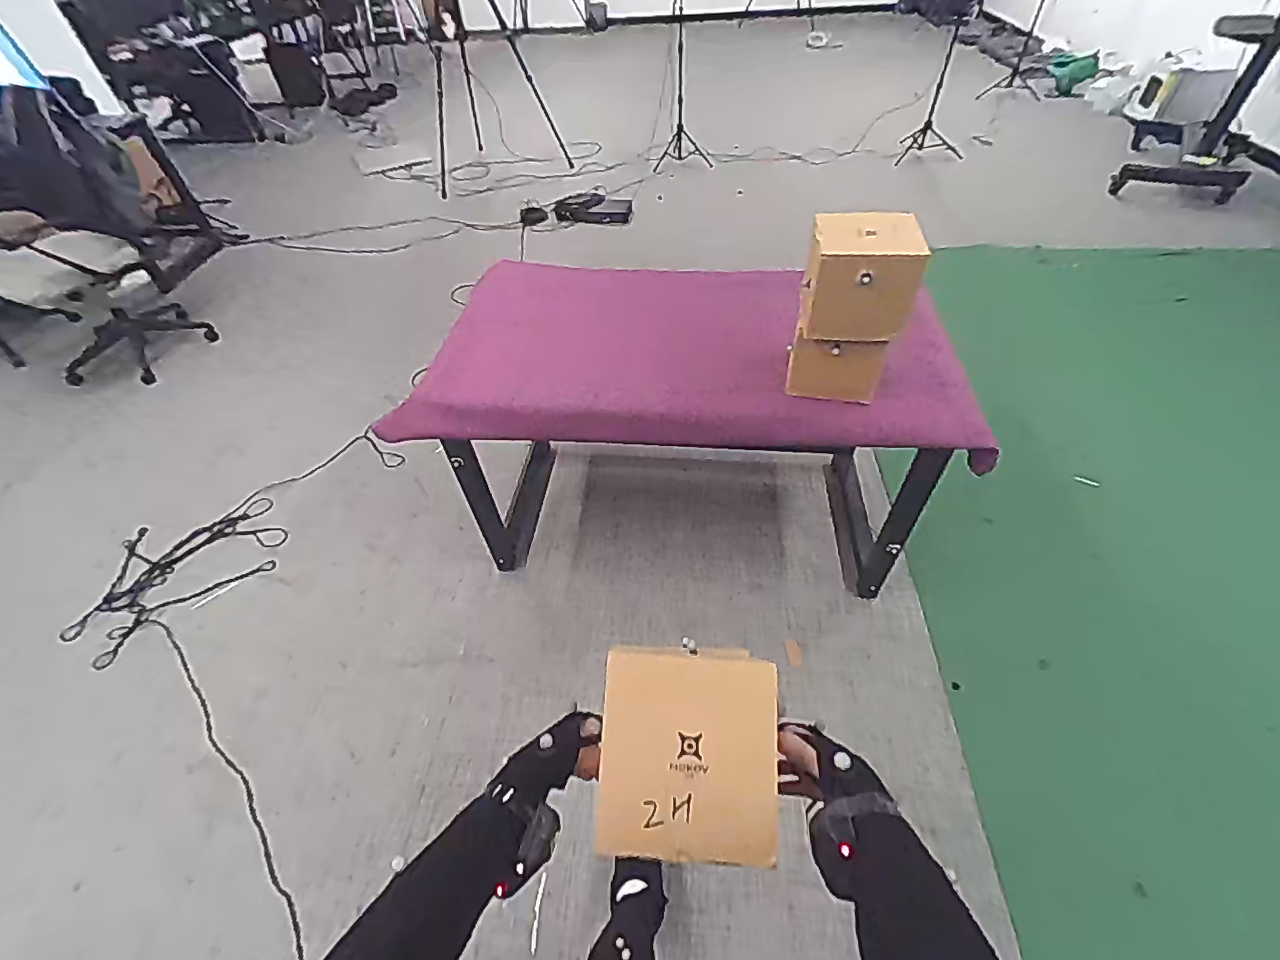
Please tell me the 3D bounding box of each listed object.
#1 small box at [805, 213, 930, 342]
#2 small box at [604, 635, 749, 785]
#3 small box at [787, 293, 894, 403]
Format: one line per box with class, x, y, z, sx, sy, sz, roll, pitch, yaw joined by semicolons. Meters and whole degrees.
small box;0.400;-0.368;0.987;0.179;0.176;0.168;5;48;9
small box;0.050;0.304;0.742;0.179;0.176;0.168;1;73;2
small box;0.414;-0.280;1.127;0.179;0.176;0.168;9;48;13
